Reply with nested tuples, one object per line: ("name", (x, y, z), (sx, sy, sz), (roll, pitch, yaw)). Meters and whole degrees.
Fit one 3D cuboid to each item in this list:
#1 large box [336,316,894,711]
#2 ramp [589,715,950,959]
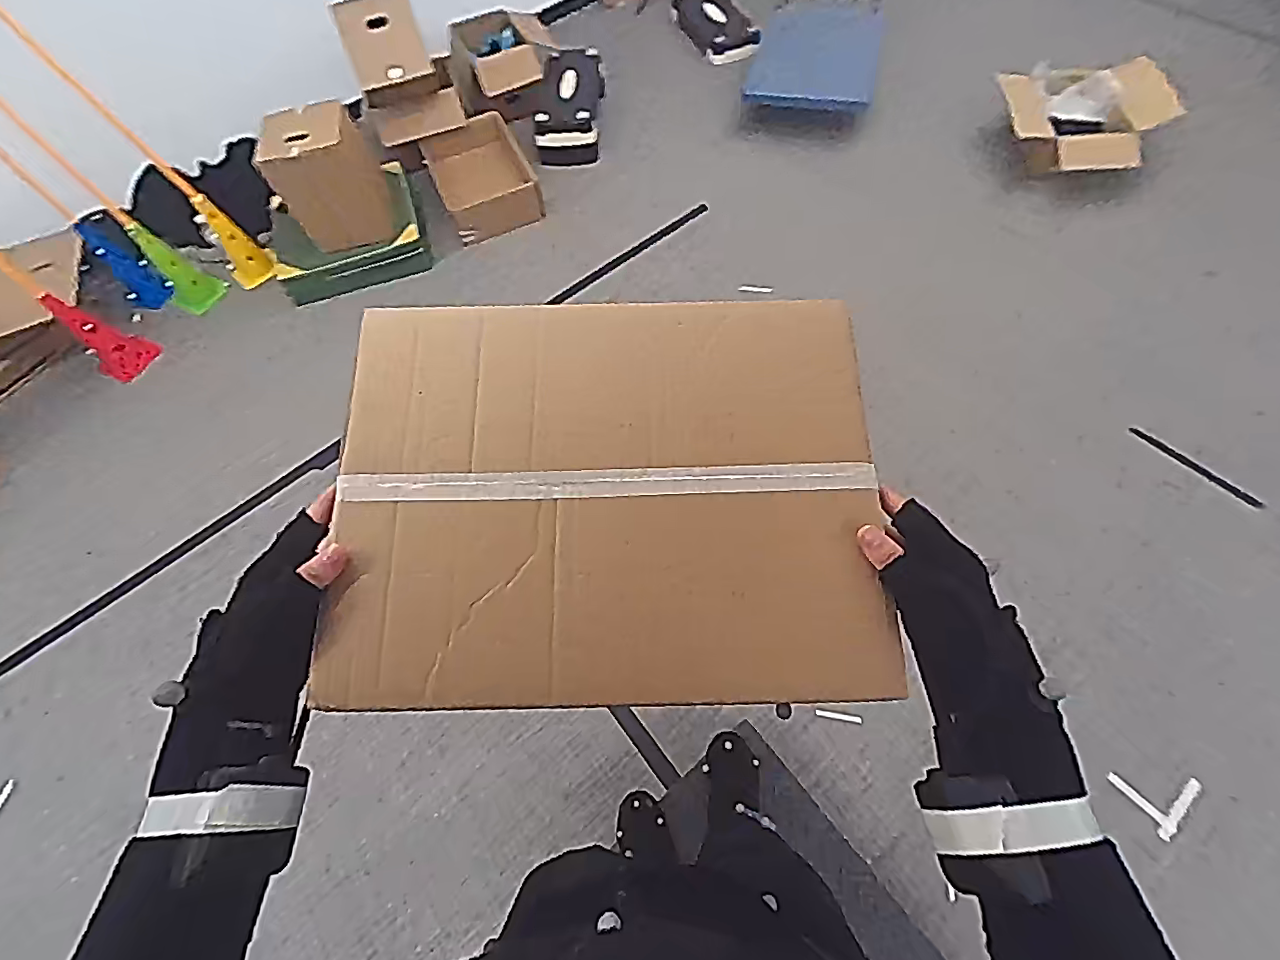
("large box", (-0.018, 0.052, 0.564), (0.408, 0.320, 0.320), (-1, 73, 1))
("ramp", (0.386, 1.068, 1.143), (0.509, 0.206, 0.991), (-39, 67, -15))
